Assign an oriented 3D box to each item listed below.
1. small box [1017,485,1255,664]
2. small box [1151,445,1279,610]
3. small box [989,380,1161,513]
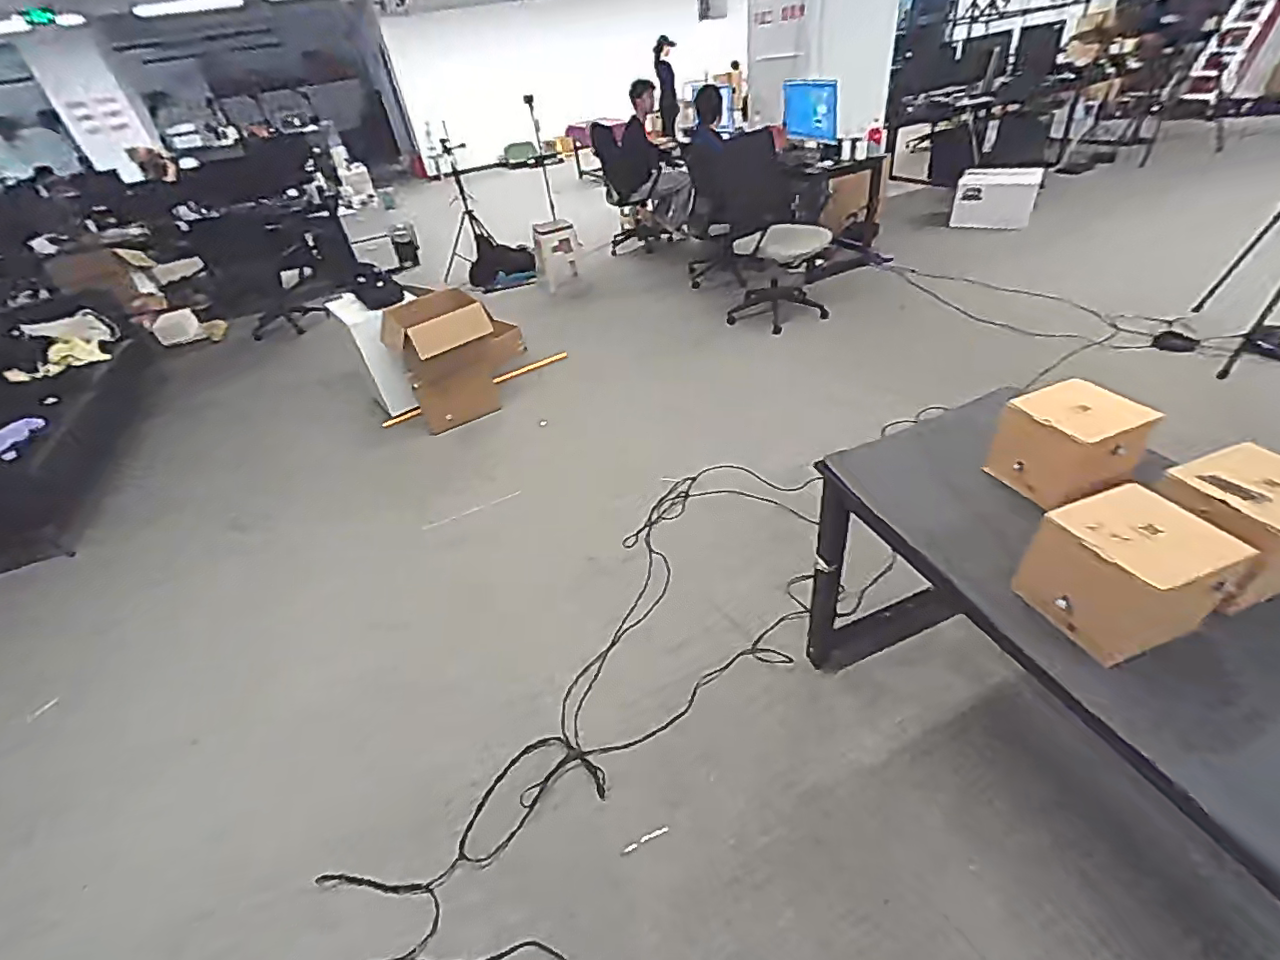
[{"bbox_3d":[0.713,0.139,0.804,0.179,0.176,0.168,-17,39,-11],"label":"small box"},{"bbox_3d":[0.929,0.075,0.845,0.179,0.176,0.168,-16,39,-10],"label":"small box"},{"bbox_3d":[0.820,-0.065,1.043,0.179,0.176,0.168,-18,39,-11],"label":"small box"}]
